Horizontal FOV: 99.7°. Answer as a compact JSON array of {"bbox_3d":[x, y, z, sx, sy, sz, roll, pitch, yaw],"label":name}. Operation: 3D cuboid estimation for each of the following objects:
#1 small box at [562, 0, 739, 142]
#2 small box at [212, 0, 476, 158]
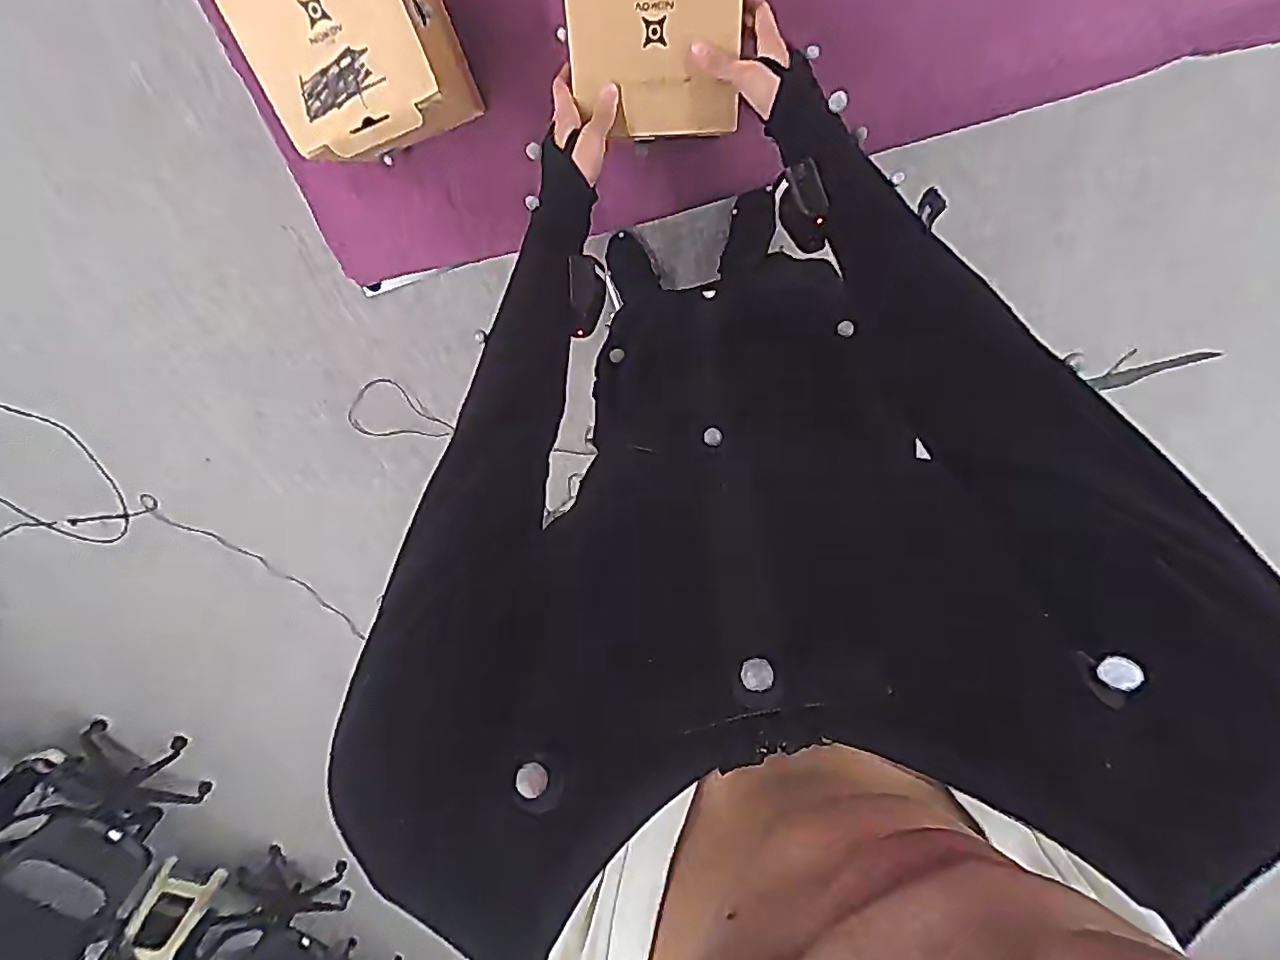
[{"bbox_3d":[0.010,-0.465,0.571,0.168,0.176,0.179,-1,122,2],"label":"small box"},{"bbox_3d":[-0.299,-0.464,0.571,0.168,0.176,0.179,-17,117,9],"label":"small box"}]
